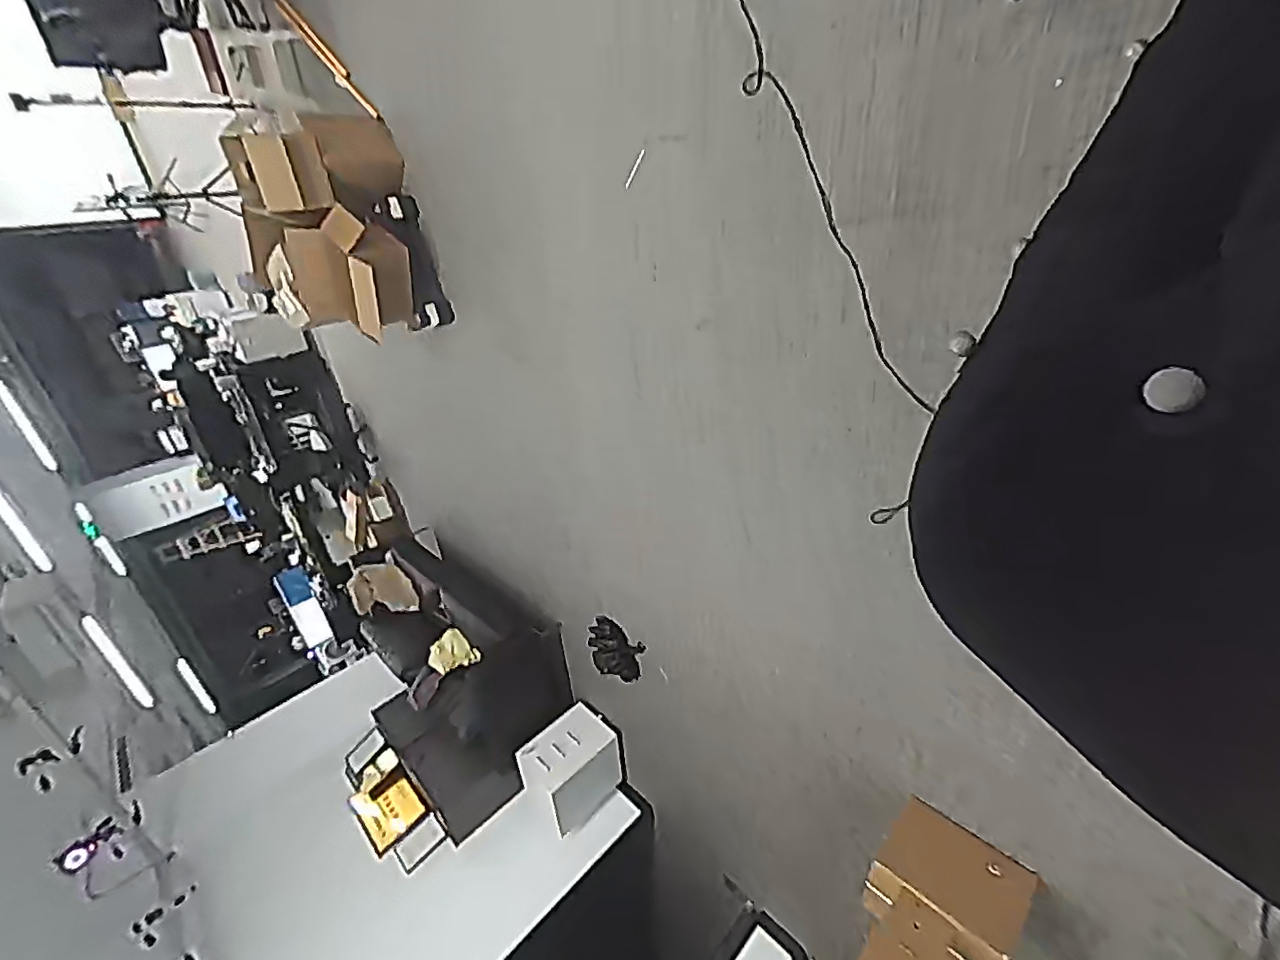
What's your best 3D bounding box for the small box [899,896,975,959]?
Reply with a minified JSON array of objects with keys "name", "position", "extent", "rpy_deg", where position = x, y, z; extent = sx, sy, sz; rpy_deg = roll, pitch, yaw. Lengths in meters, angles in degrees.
[{"name":"small box","position":[0.907,1.449,1.672],"extent":[0.168,0.176,0.179],"rpy_deg":[26,130,40]}]
